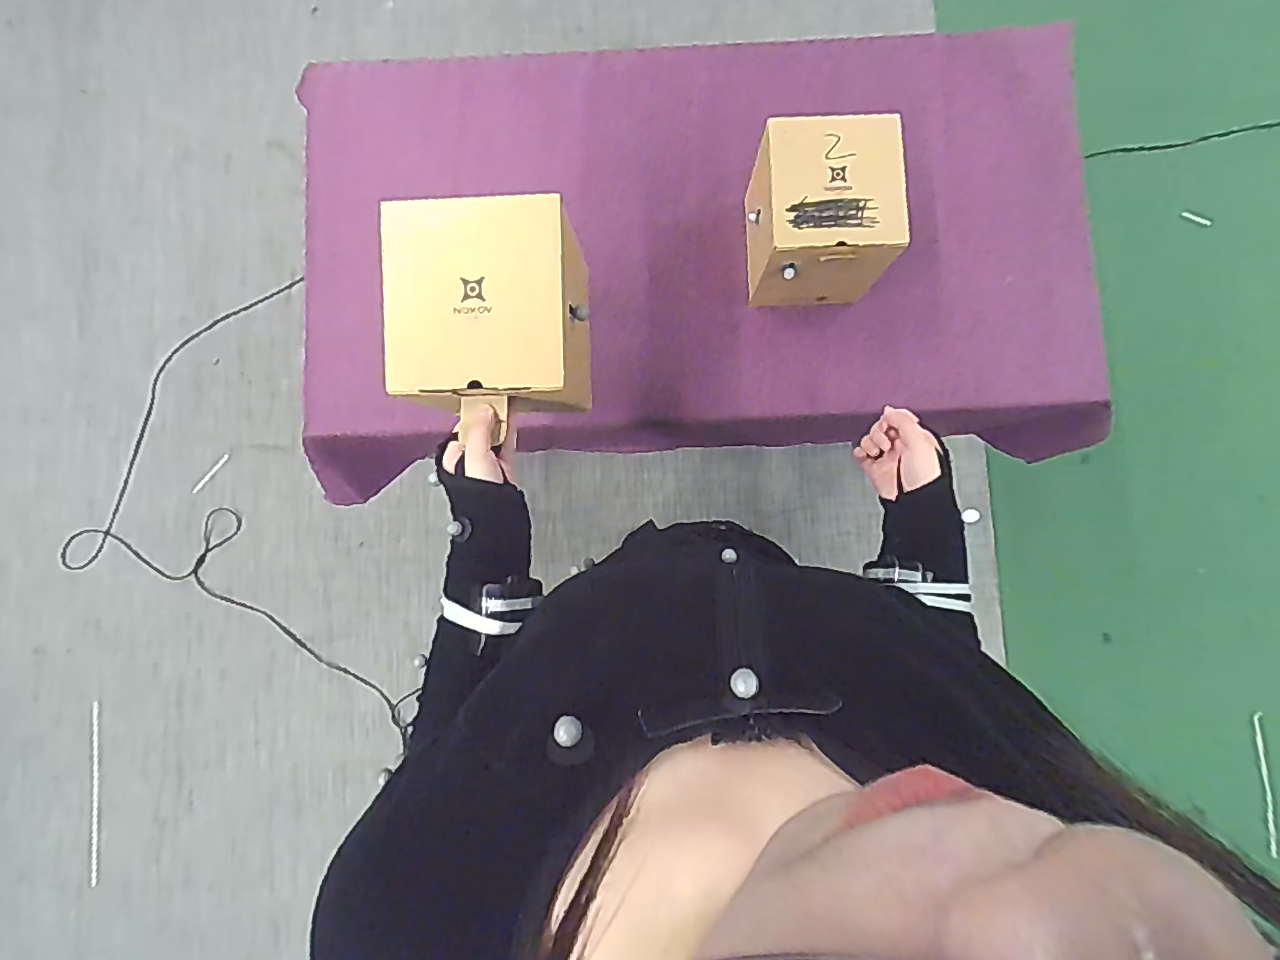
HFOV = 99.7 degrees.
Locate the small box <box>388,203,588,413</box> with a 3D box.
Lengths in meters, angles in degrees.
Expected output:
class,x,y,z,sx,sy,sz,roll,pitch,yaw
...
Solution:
class,x,y,z,sx,sy,sz,roll,pitch,yaw
small box,-0.150,-0.169,0.581,0.168,0.176,0.179,-1,91,3
